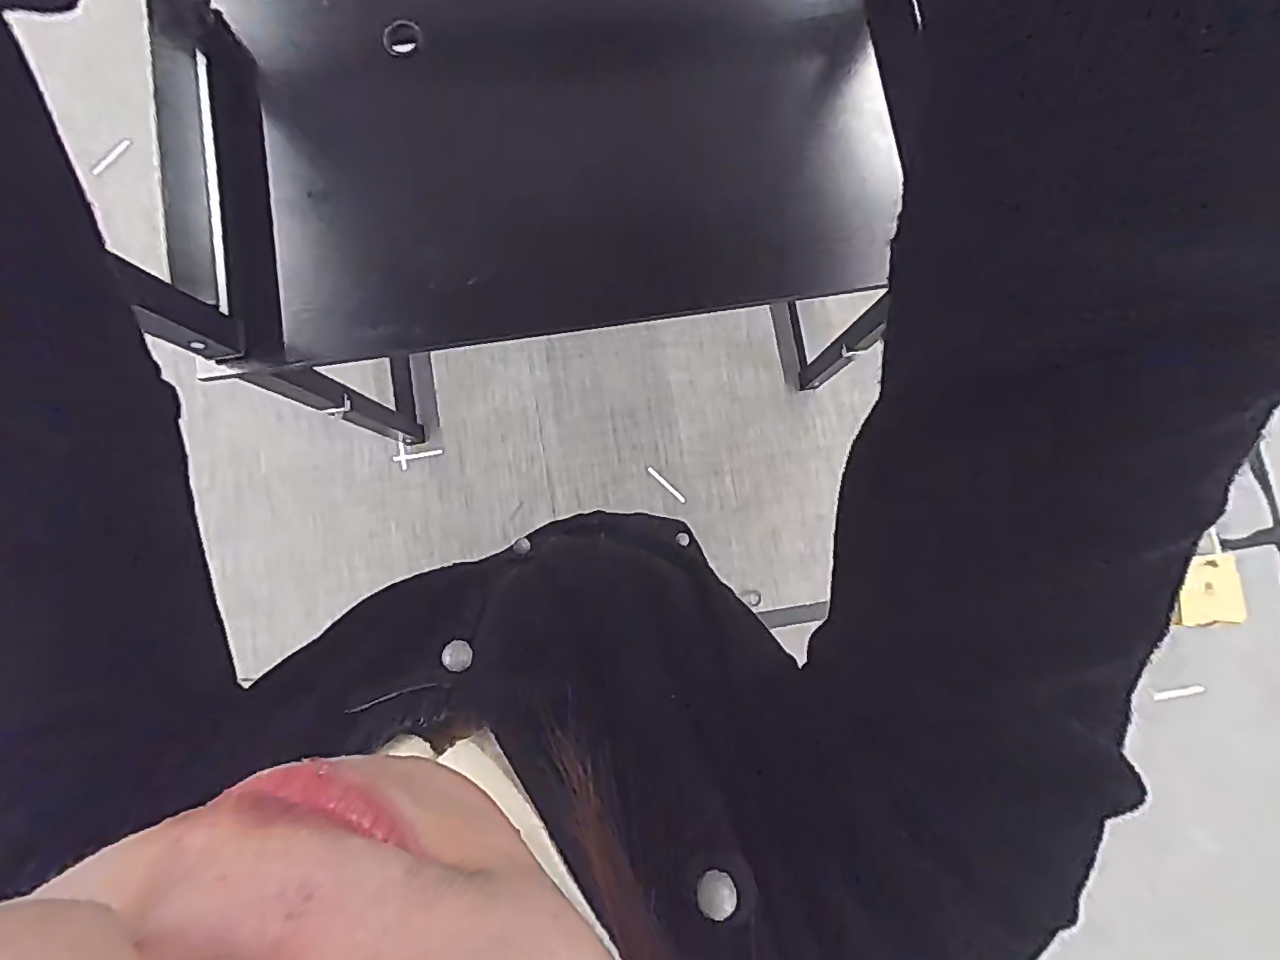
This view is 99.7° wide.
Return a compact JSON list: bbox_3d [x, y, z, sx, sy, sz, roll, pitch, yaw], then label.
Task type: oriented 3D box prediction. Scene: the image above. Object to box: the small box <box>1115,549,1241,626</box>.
[{"bbox_3d":[1.441,0.285,1.458,0.168,0.176,0.179,-4,86,-2],"label":"small box"}]
